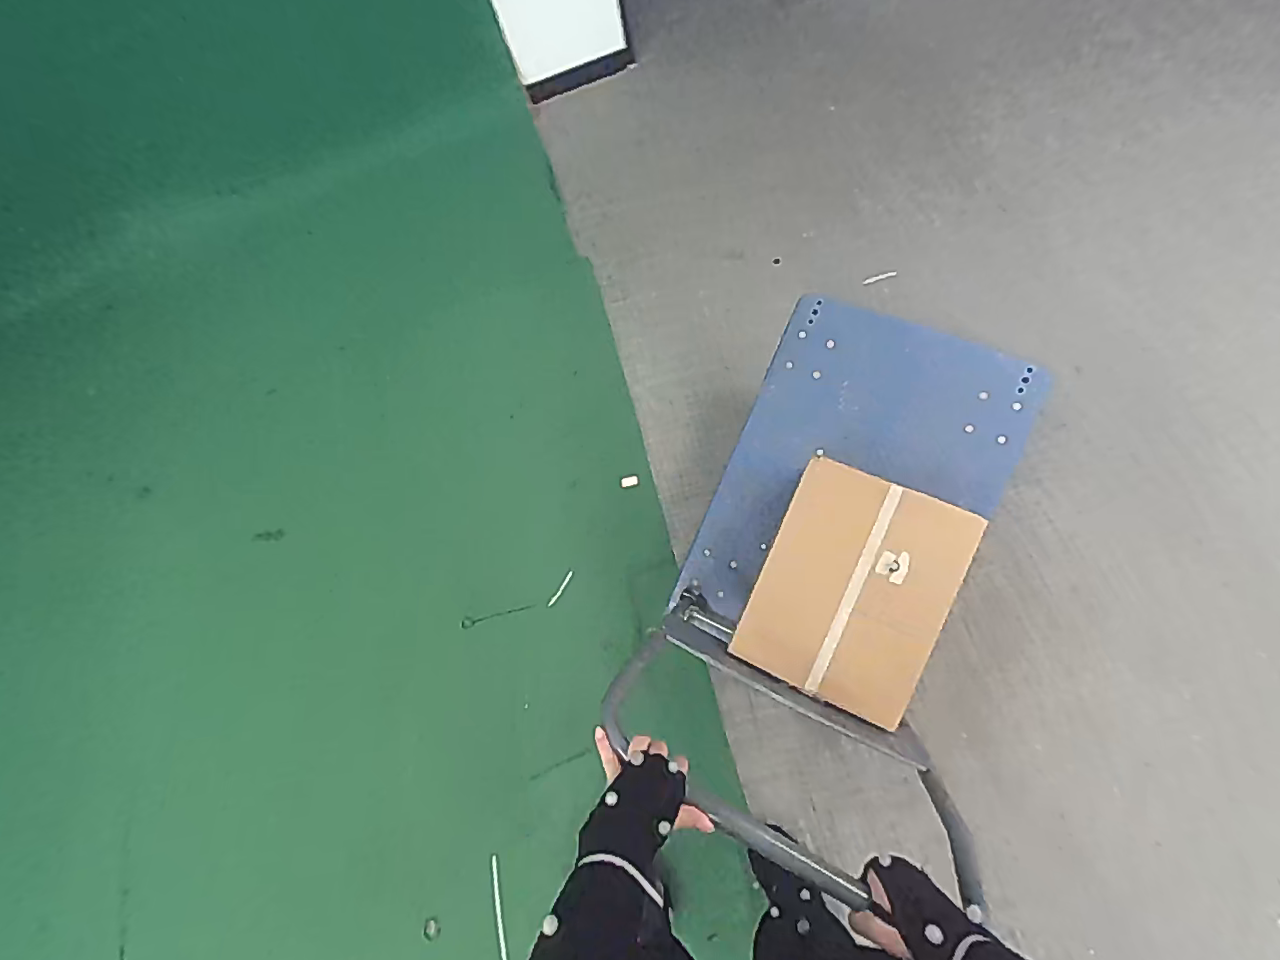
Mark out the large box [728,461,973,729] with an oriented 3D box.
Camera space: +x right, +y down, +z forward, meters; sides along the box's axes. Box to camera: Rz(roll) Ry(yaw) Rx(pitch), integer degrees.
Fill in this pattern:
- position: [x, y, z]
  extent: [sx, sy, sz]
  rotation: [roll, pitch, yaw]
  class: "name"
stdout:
- position: [0.411, 0.217, 1.128]
  extent: [0.320, 0.320, 0.408]
  rotation: [23, 91, 14]
  class: "large box"
